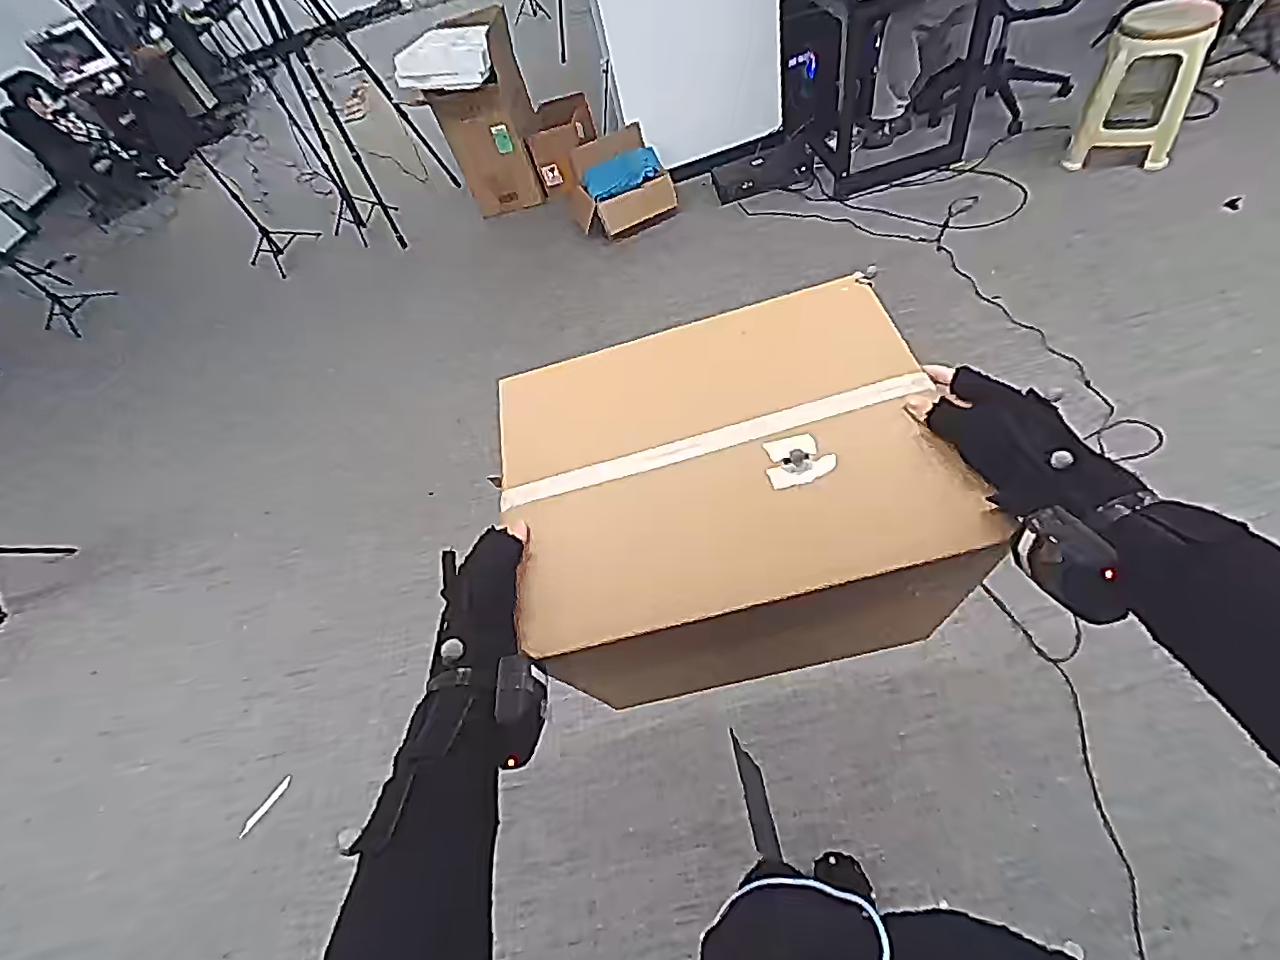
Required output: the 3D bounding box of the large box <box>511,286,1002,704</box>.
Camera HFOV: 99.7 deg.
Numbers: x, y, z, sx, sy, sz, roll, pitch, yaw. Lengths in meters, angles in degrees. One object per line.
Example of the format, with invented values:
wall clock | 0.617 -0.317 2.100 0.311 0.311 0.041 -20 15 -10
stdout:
large box | 0.101 0.041 0.645 0.408 0.320 0.320 -15 58 4
